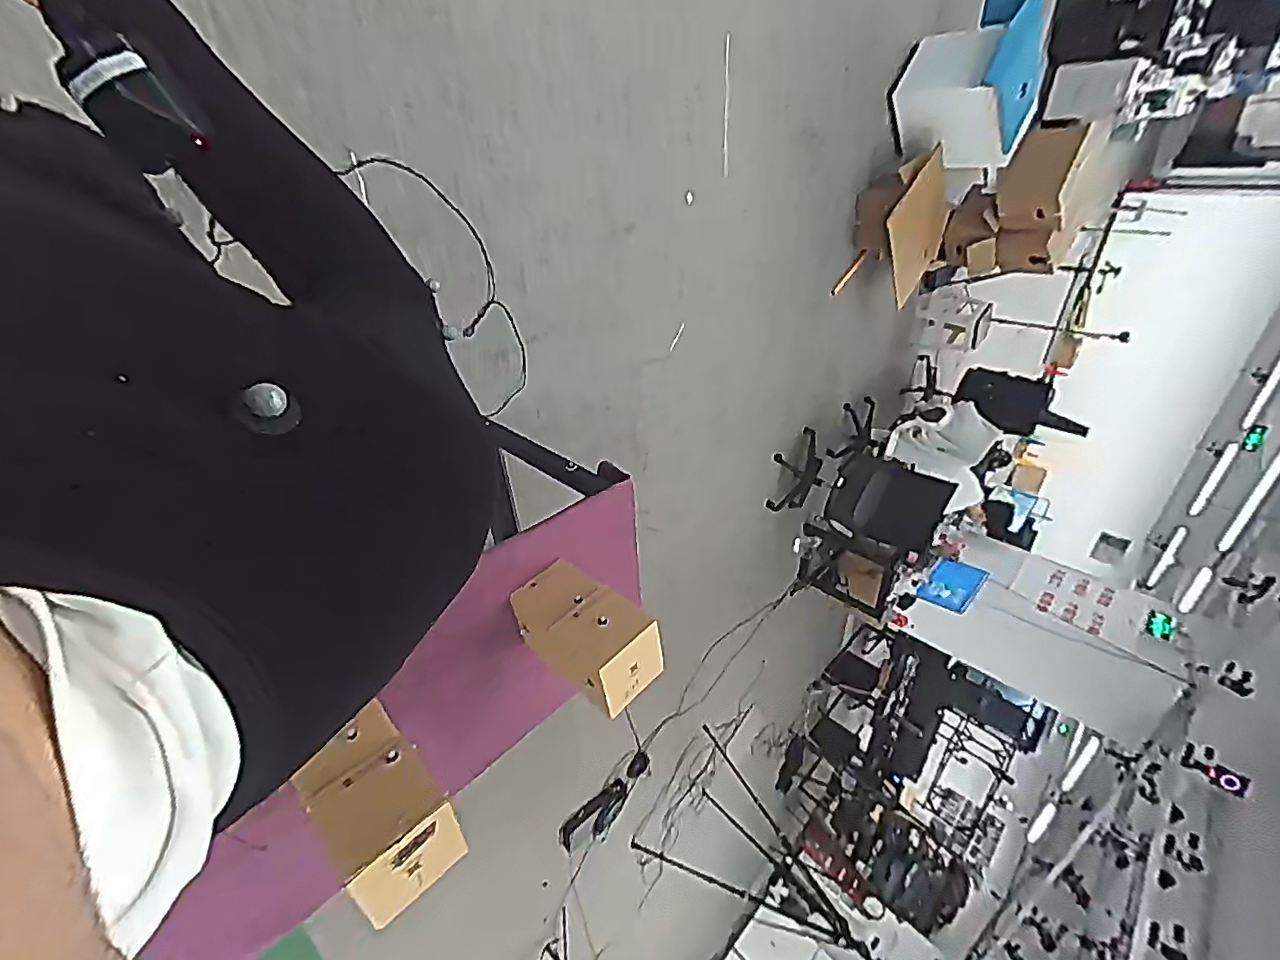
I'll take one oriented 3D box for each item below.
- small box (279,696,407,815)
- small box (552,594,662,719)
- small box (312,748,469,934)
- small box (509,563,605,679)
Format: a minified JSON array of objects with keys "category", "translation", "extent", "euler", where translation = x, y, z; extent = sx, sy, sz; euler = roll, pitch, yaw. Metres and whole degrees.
[{"category":"small box","translation":[-0.536,0.540,1.013],"extent":[0.168,0.176,0.179],"euler":[-33,134,-35]},{"category":"small box","translation":[-0.073,0.376,1.192],"extent":[0.168,0.176,0.179],"euler":[-34,133,-32]},{"category":"small box","translation":[-0.418,0.591,0.910],"extent":[0.168,0.176,0.179],"euler":[-30,133,-37]},{"category":"small box","translation":[-0.188,0.332,1.303],"extent":[0.168,0.176,0.179],"euler":[-36,135,-32]}]
